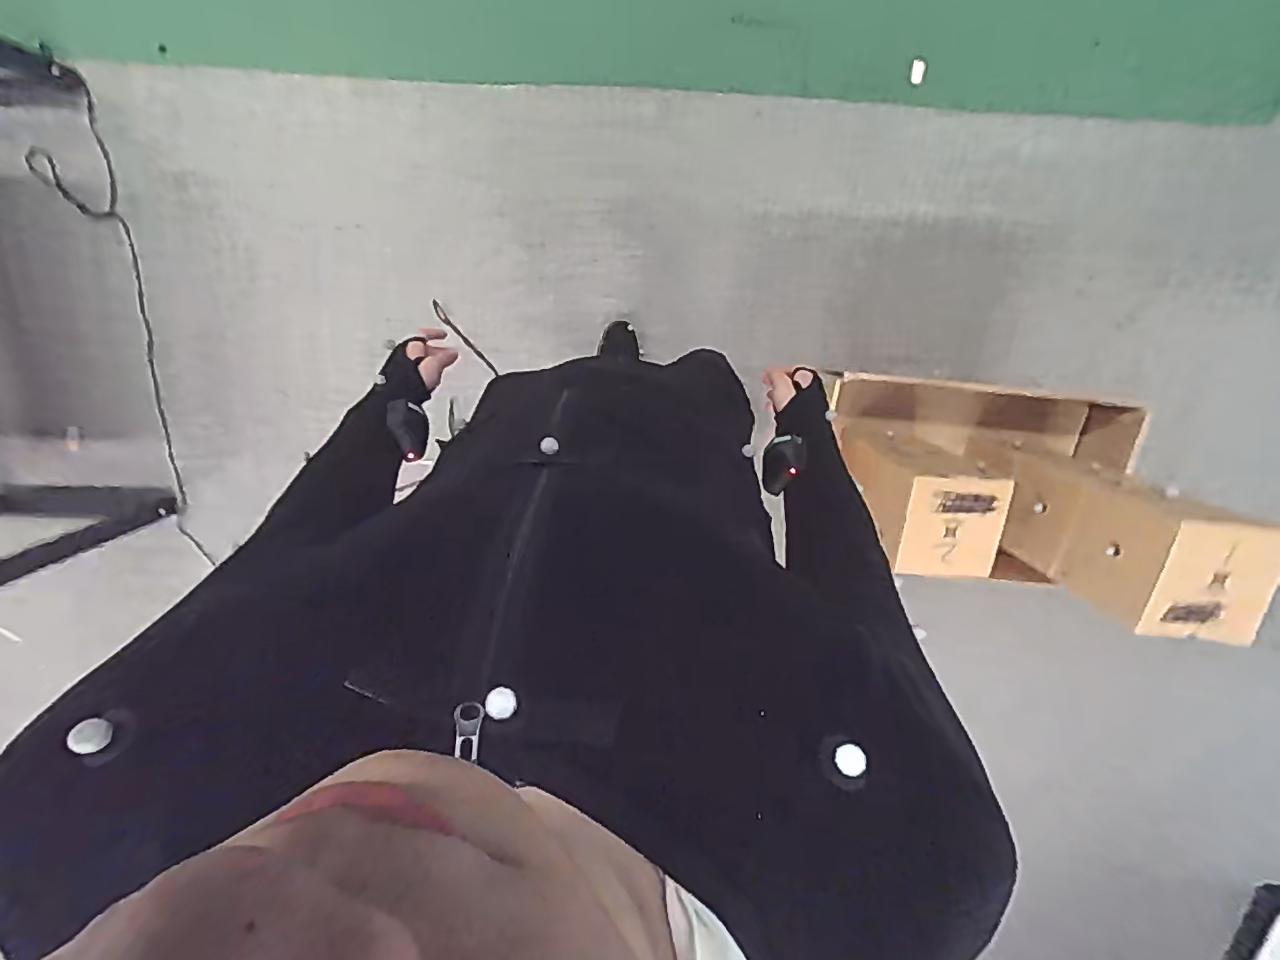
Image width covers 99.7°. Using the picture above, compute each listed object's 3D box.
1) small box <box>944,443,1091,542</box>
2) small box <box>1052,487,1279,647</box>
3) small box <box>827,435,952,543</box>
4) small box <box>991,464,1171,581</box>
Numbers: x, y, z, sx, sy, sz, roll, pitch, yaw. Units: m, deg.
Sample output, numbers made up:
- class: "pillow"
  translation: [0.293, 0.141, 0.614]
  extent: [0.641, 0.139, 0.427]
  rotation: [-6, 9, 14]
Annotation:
- class: "small box"
  translation: [0.781, 0.029, 1.141]
  extent: [0.168, 0.176, 0.179]
  rotation: [8, 107, -2]
- class: "small box"
  translation: [0.784, 0.125, 0.827]
  extent: [0.168, 0.176, 0.179]
  rotation: [7, 106, -2]
- class: "small box"
  translation: [0.508, 0.014, 1.129]
  extent: [0.168, 0.176, 0.179]
  rotation: [4, 107, -3]
- class: "small box"
  translation: [0.784, 0.078, 0.985]
  extent: [0.168, 0.176, 0.179]
  rotation: [7, 105, -1]
